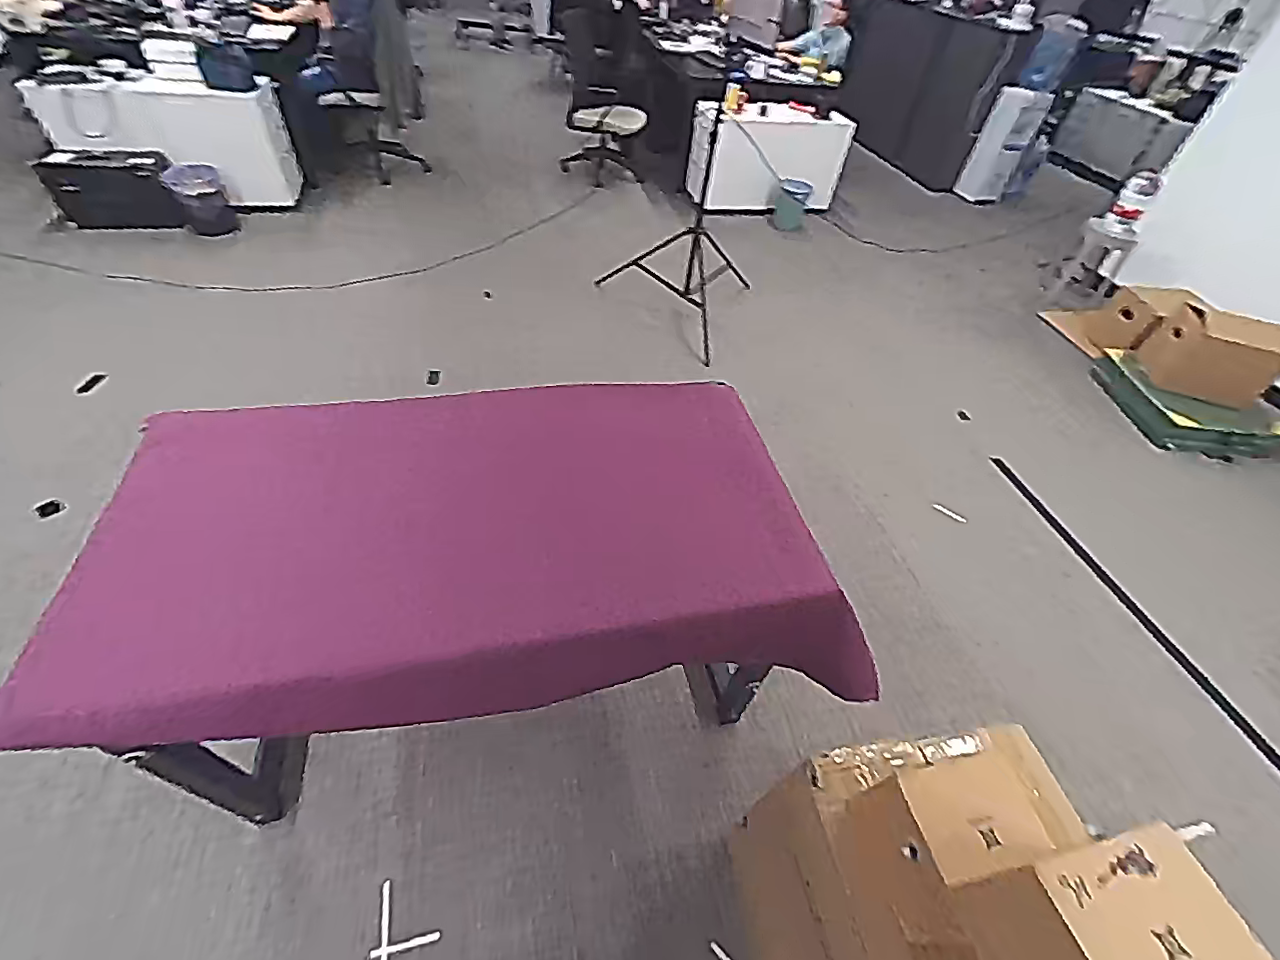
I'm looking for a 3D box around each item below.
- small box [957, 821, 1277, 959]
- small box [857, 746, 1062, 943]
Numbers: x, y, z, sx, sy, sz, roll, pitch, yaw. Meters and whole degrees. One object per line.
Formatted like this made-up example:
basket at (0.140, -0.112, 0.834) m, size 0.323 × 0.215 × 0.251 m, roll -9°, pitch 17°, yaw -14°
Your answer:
small box at (0.459, 0.463, 0.523) m, size 0.168 × 0.176 × 0.179 m, roll -7°, pitch 48°, yaw -12°
small box at (0.423, 0.486, 0.722) m, size 0.168 × 0.176 × 0.179 m, roll -7°, pitch 50°, yaw -11°
